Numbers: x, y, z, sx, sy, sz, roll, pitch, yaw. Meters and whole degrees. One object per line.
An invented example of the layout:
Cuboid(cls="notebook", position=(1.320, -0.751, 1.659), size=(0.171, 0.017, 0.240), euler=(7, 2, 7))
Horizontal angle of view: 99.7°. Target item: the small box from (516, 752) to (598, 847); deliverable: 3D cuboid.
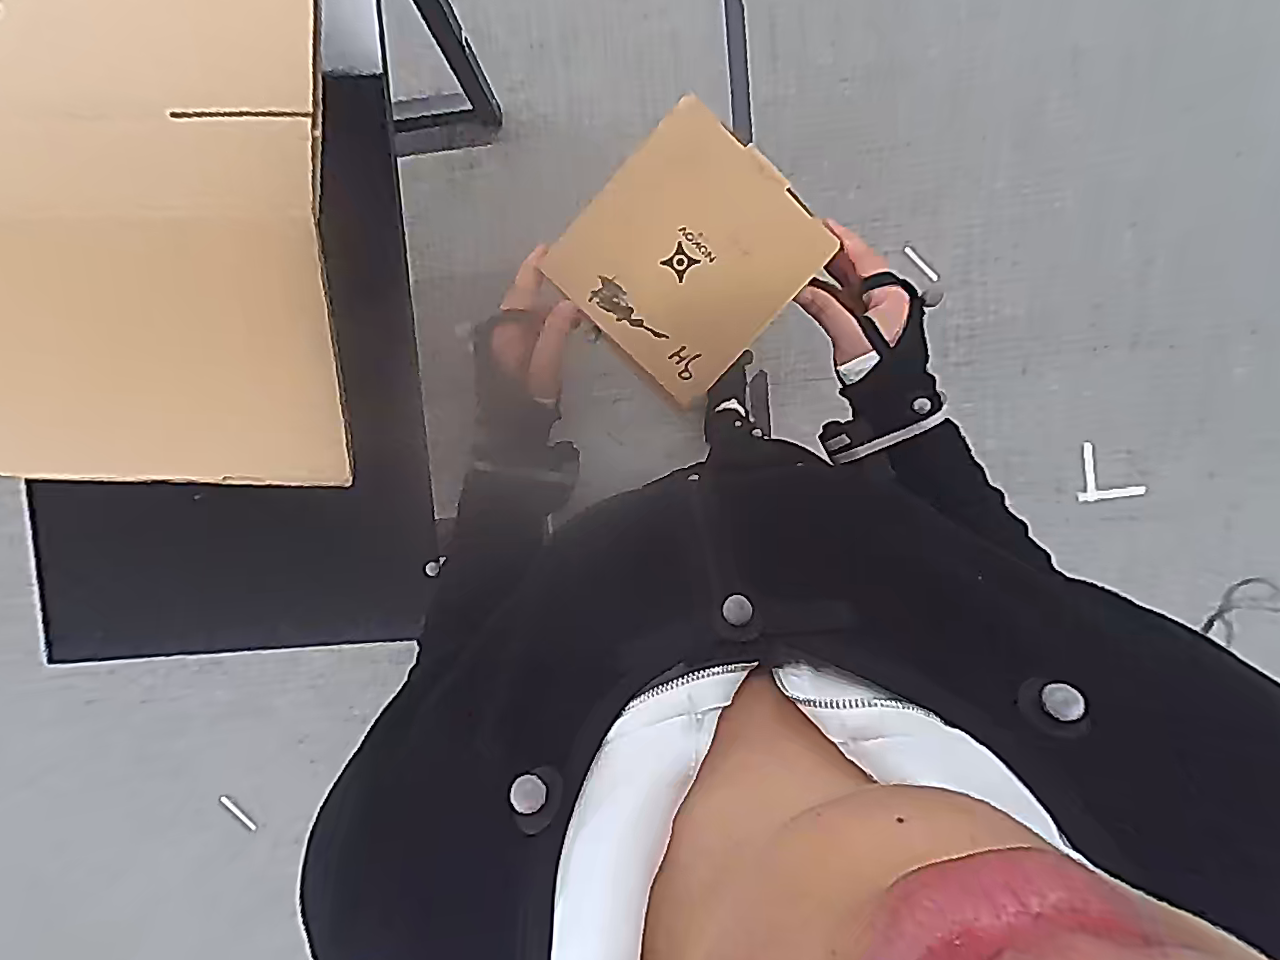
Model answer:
Cuboid(cls="small box", position=(-0.219, 0.865, 1.464), size=(0.179, 0.176, 0.168), euler=(-9, 93, 2))

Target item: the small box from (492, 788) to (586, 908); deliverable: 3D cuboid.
Cuboid(cls="small box", position=(-0.232, 0.876, 1.302), size=(0.179, 0.176, 0.168), euler=(-12, 91, 4))
